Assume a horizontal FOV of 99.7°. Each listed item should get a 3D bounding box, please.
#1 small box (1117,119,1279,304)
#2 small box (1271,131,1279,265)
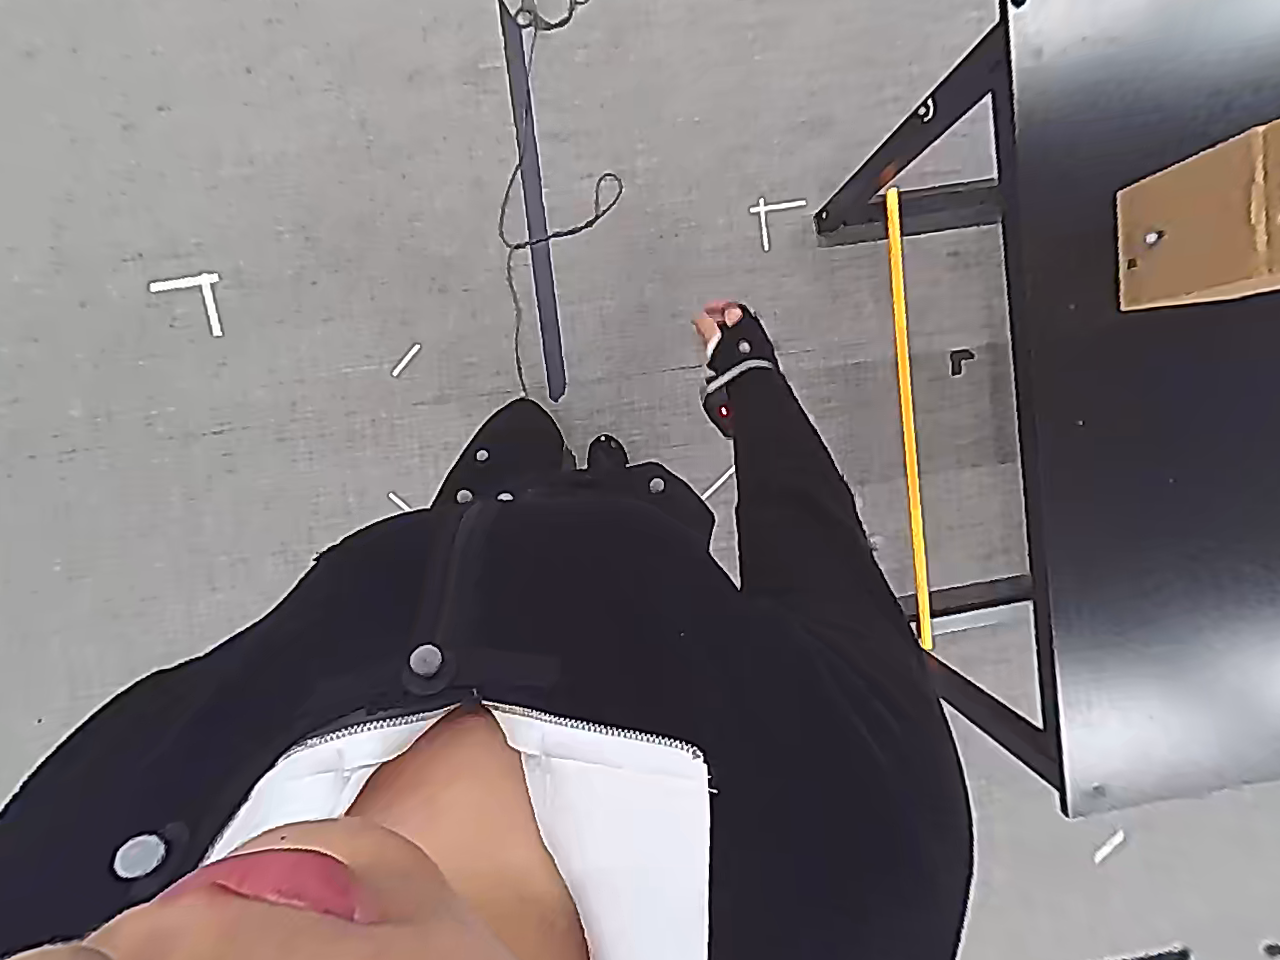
[{"bbox_3d":[0.766,-0.331,0.688,0.179,0.176,0.168,-7,95,-2],"label":"small box"},{"bbox_3d":[0.784,-0.321,0.525,0.179,0.176,0.168,-10,96,-2],"label":"small box"}]
